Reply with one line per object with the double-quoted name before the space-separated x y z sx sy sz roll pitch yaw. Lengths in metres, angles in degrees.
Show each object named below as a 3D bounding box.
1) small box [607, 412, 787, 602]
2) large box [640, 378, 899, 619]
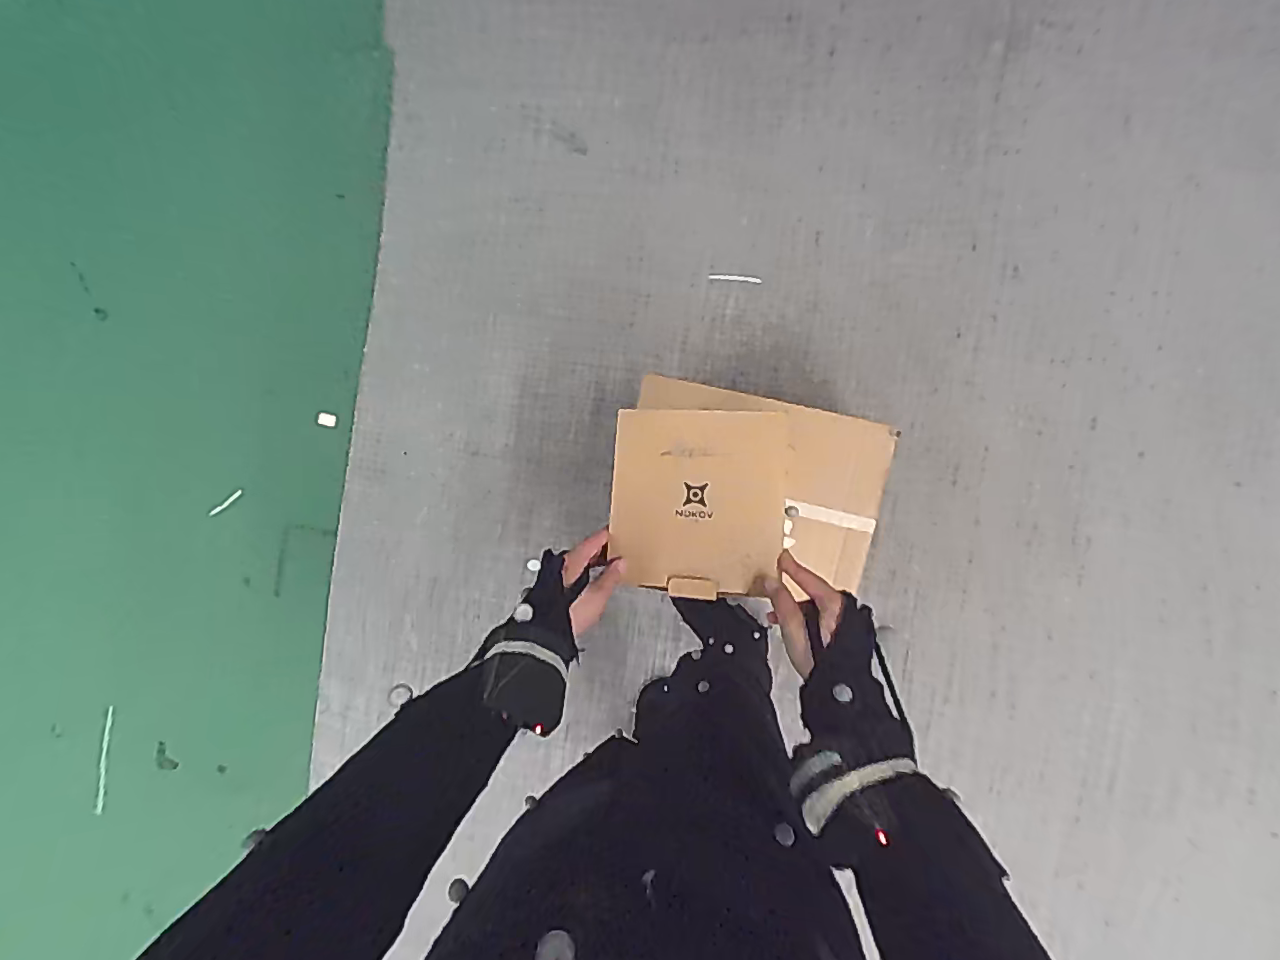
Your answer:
"small box" 0.069 0.032 0.586 0.168 0.176 0.179 2 81 11
"large box" 0.194 0.023 1.004 0.408 0.320 0.320 14 94 10
